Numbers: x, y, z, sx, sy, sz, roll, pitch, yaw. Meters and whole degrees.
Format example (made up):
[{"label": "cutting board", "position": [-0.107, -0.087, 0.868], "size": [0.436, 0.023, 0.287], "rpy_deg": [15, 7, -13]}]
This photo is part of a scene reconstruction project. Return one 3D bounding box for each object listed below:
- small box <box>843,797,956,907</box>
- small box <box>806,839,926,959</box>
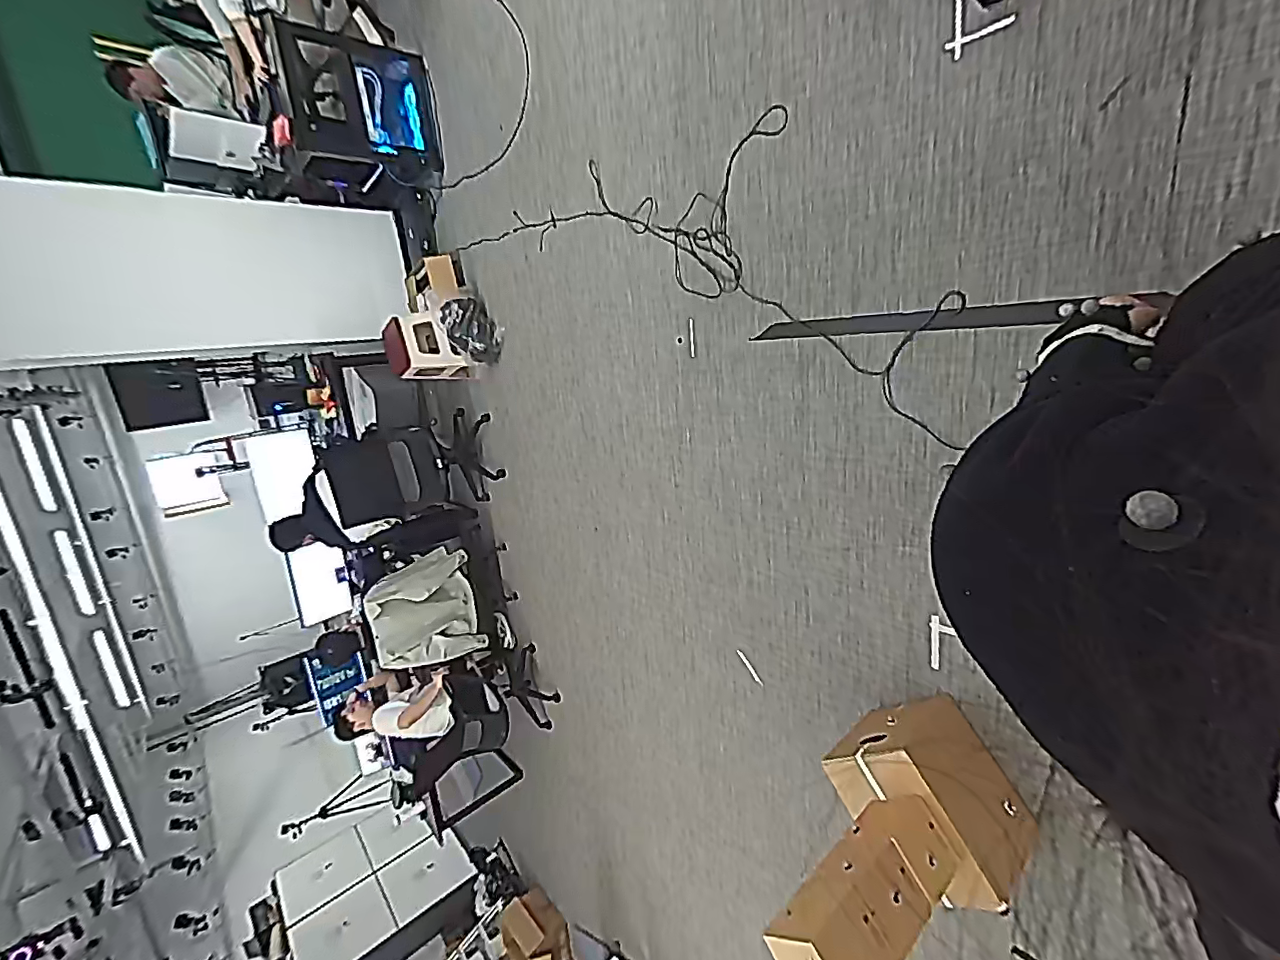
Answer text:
[{"label": "small box", "position": [0.663, 0.932, 1.367], "size": [0.168, 0.176, 0.179], "rpy_deg": [60, 140, 16]}, {"label": "small box", "position": [0.538, 0.978, 1.271], "size": [0.168, 0.176, 0.179], "rpy_deg": [60, 140, 16]}]
